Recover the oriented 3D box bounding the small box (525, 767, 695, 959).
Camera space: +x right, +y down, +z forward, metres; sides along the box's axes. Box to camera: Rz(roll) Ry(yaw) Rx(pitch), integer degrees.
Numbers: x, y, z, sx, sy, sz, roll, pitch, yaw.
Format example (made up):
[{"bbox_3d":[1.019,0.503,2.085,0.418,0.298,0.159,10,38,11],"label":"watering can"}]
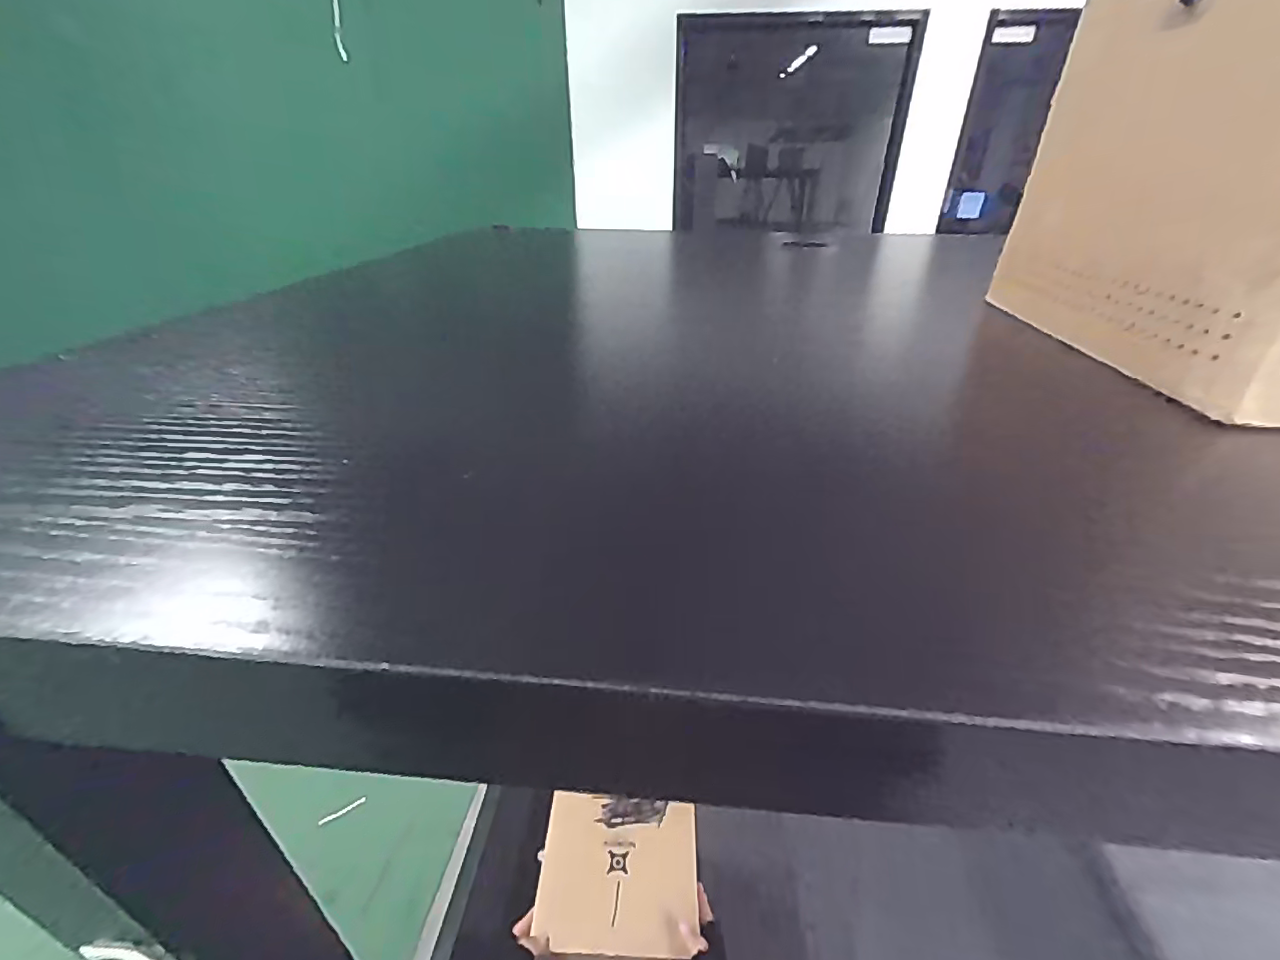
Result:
[{"bbox_3d":[-0.025,0.464,0.619,0.168,0.176,0.179,2,31,3],"label":"small box"}]
